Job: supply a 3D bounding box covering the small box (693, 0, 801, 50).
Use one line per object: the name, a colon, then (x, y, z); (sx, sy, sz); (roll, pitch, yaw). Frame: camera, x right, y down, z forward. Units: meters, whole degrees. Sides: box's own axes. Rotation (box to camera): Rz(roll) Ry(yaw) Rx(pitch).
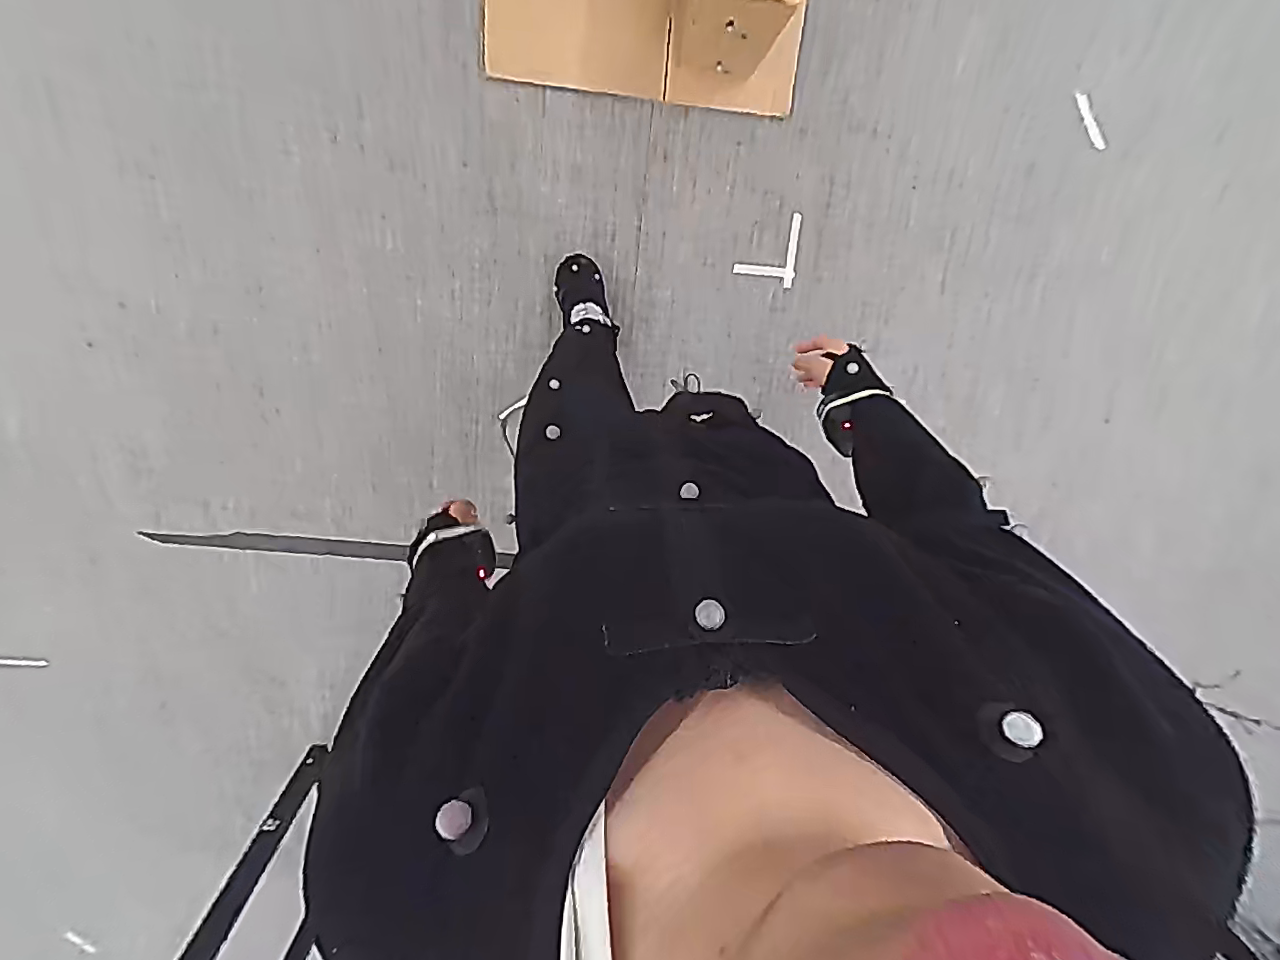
small box: (0.200, -0.920, 0.963); (0.168, 0.176, 0.179); (7, 108, -8)
